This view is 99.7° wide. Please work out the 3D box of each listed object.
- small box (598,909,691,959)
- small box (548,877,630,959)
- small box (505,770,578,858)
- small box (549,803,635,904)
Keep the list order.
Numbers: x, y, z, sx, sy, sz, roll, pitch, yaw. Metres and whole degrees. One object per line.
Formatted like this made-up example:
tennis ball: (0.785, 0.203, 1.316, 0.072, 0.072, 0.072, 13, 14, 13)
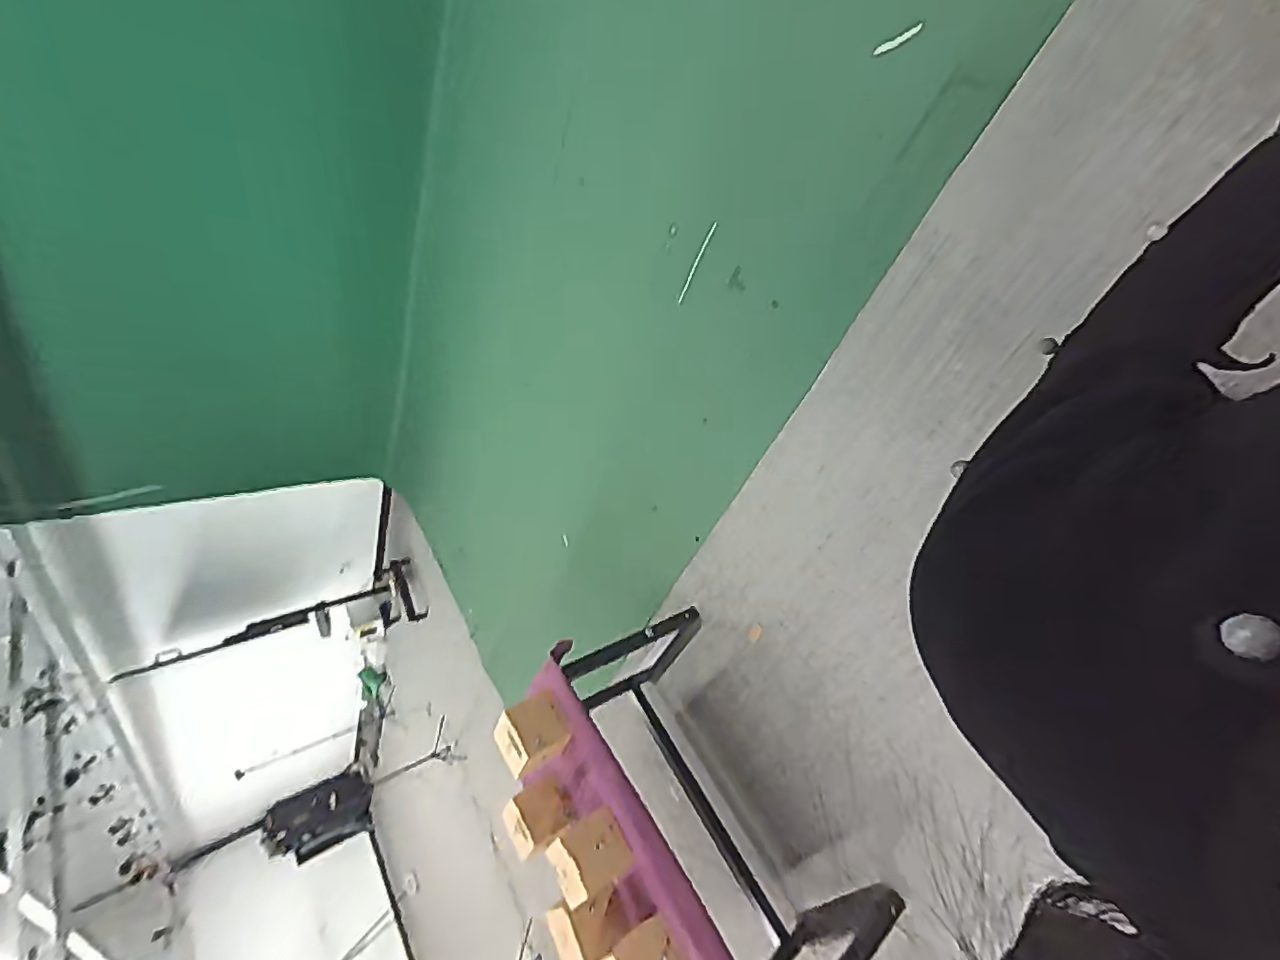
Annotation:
small box: (0.019, 1.304, 1.451, 0.168, 0.176, 0.179, 52, 134, 28)
small box: (-0.152, 1.345, 1.666, 0.168, 0.176, 0.179, 60, 137, 21)
small box: (-0.328, 1.114, 1.814, 0.168, 0.176, 0.179, 51, 134, 29)
small box: (-0.138, 1.085, 1.582, 0.168, 0.176, 0.179, 53, 135, 28)
